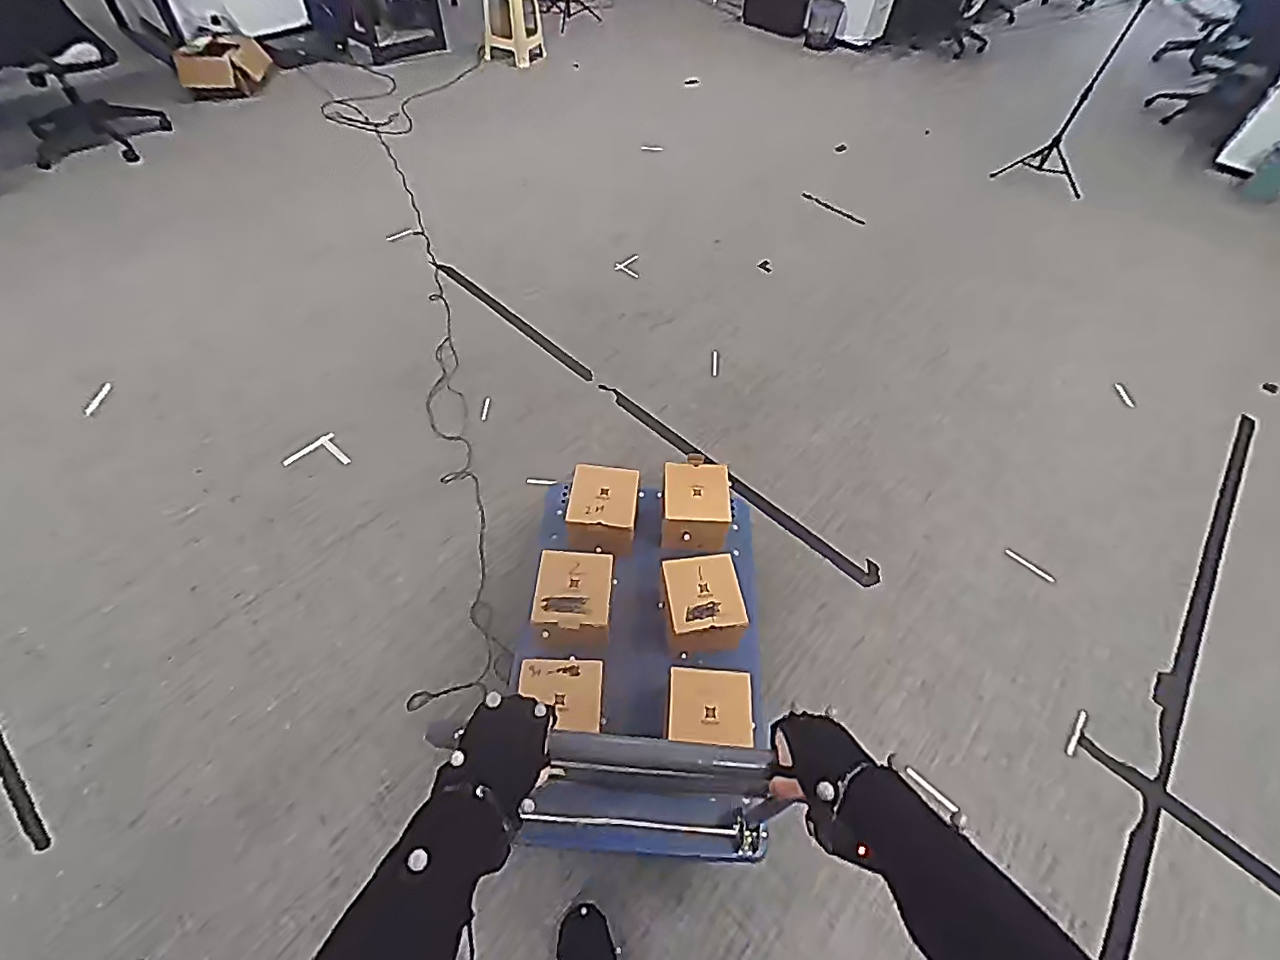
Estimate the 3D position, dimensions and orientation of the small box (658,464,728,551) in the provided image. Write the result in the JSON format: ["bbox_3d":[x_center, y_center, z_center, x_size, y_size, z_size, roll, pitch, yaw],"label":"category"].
[{"bbox_3d":[0.136,0.078,1.438,0.168,0.176,0.179,2,54,-2],"label":"small box"}]

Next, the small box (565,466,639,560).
[{"bbox_3d":[-0.097,0.088,1.413,0.168,0.176,0.179,6,55,1],"label":"small box"}]

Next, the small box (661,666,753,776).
[{"bbox_3d":[0.136,0.508,1.130,0.168,0.176,0.179,5,54,-1],"label":"small box"}]

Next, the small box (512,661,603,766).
[{"bbox_3d":[-0.162,0.488,1.122,0.168,0.176,0.179,2,55,-3],"label":"small box"}]

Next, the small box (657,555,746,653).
[{"bbox_3d":[0.137,0.299,1.279,0.168,0.176,0.179,-5,54,-8],"label":"small box"}]
